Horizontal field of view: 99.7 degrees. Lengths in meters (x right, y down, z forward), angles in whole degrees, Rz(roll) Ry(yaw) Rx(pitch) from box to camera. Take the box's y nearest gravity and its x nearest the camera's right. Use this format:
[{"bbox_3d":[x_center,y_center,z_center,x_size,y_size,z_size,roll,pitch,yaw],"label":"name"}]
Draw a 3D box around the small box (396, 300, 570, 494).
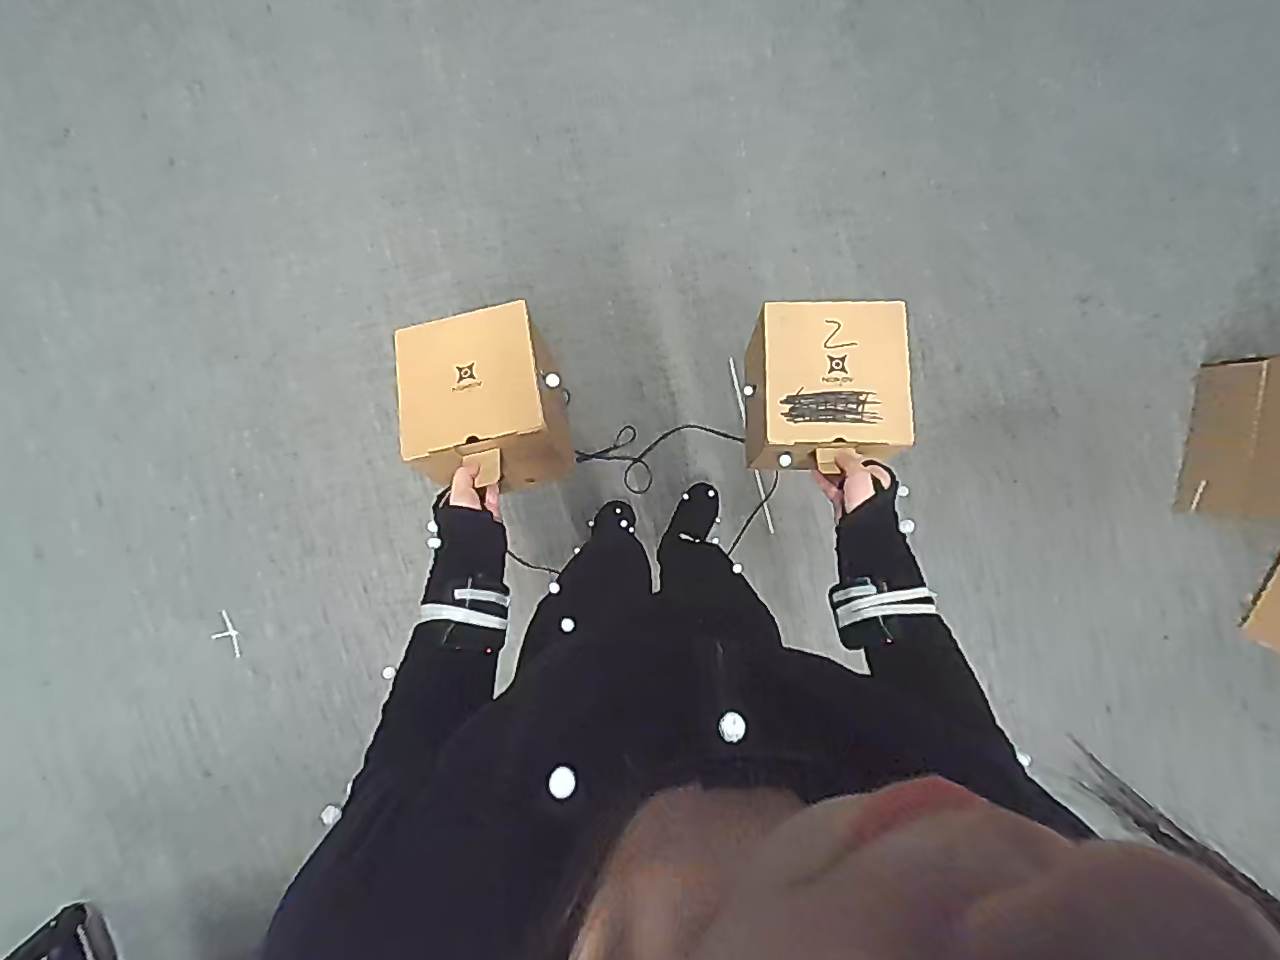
[{"bbox_3d":[-0.198,-0.100,0.710,0.168,0.176,0.179,-13,71,2],"label":"small box"}]
